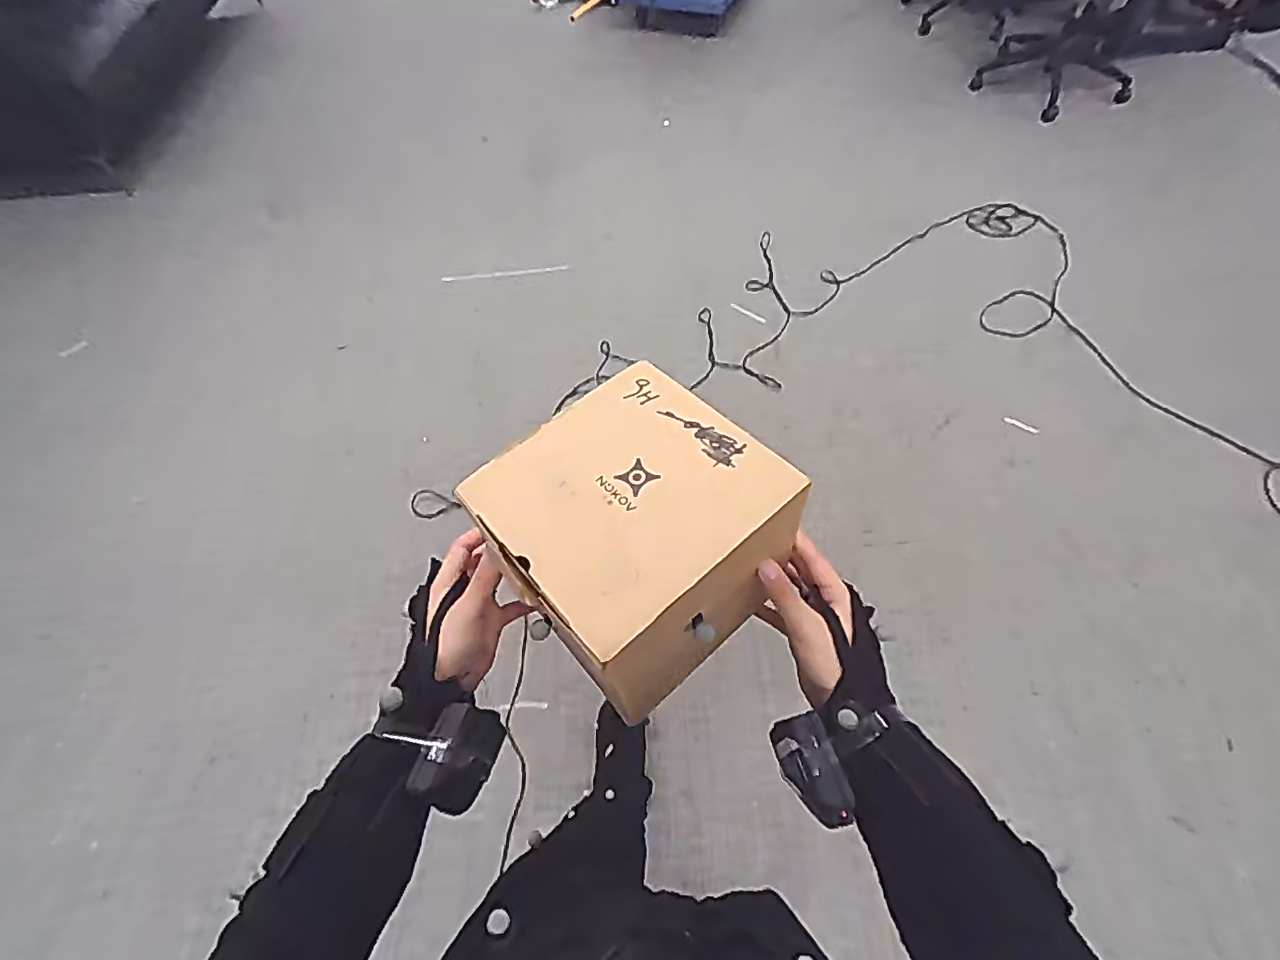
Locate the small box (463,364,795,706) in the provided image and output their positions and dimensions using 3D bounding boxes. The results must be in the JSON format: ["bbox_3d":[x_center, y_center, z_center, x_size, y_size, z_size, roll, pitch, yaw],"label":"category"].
[{"bbox_3d":[-0.001,0.049,0.433,0.179,0.176,0.168,-38,60,-17],"label":"small box"}]
